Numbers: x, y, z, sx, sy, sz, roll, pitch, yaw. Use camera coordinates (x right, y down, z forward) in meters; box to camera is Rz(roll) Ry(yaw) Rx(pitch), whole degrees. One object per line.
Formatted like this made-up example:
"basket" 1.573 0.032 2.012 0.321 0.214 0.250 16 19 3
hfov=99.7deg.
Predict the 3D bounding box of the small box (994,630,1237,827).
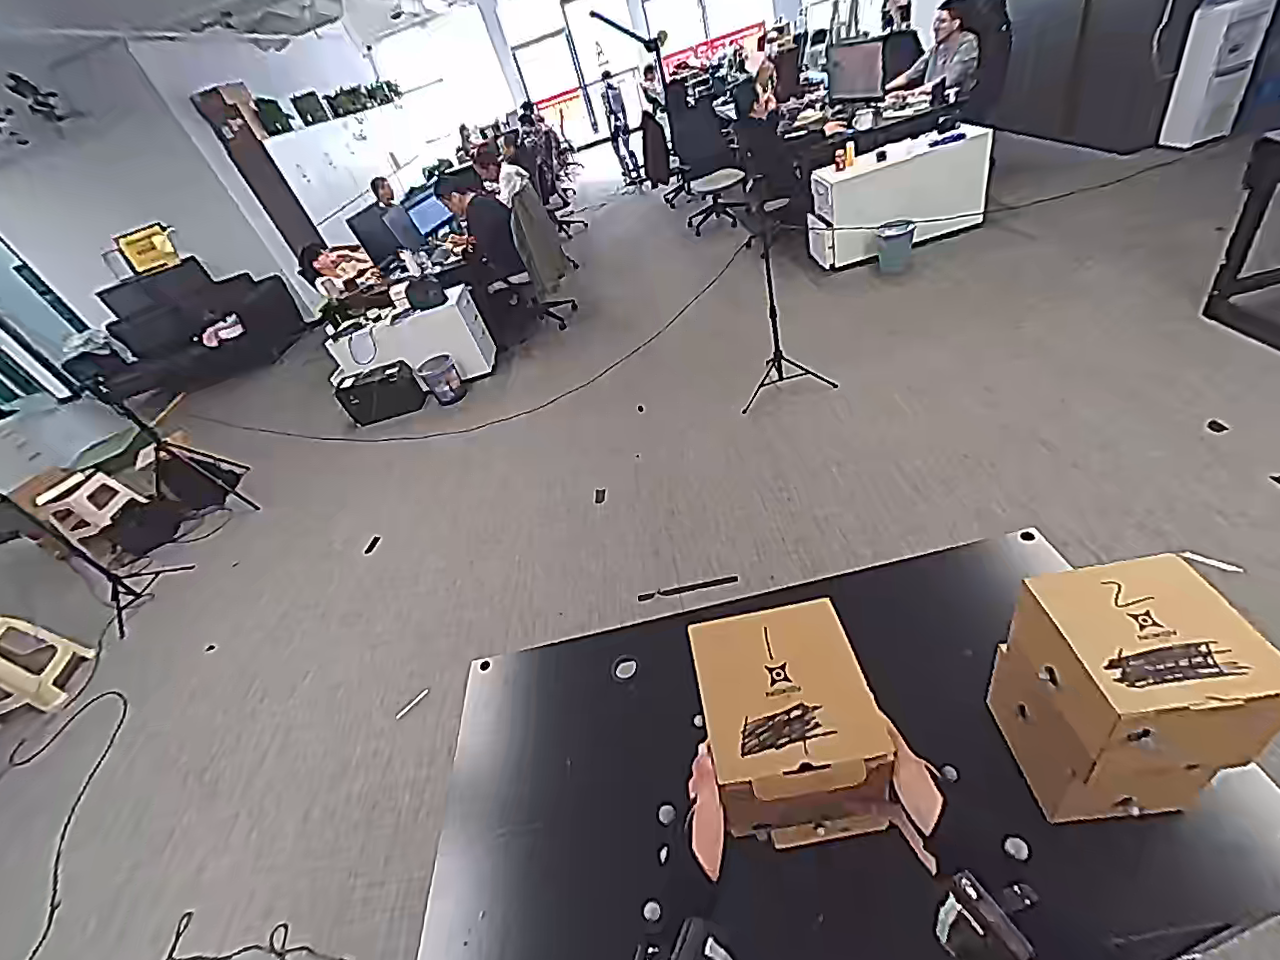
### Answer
"small box" 0.604 0.332 0.723 0.168 0.176 0.179 -13 38 11

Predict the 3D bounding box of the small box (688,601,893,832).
"small box" 0.156 0.265 0.596 0.168 0.176 0.179 -12 42 4

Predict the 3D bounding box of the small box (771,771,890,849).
"small box" 0.247 0.406 0.795 0.168 0.176 0.179 -15 38 6
